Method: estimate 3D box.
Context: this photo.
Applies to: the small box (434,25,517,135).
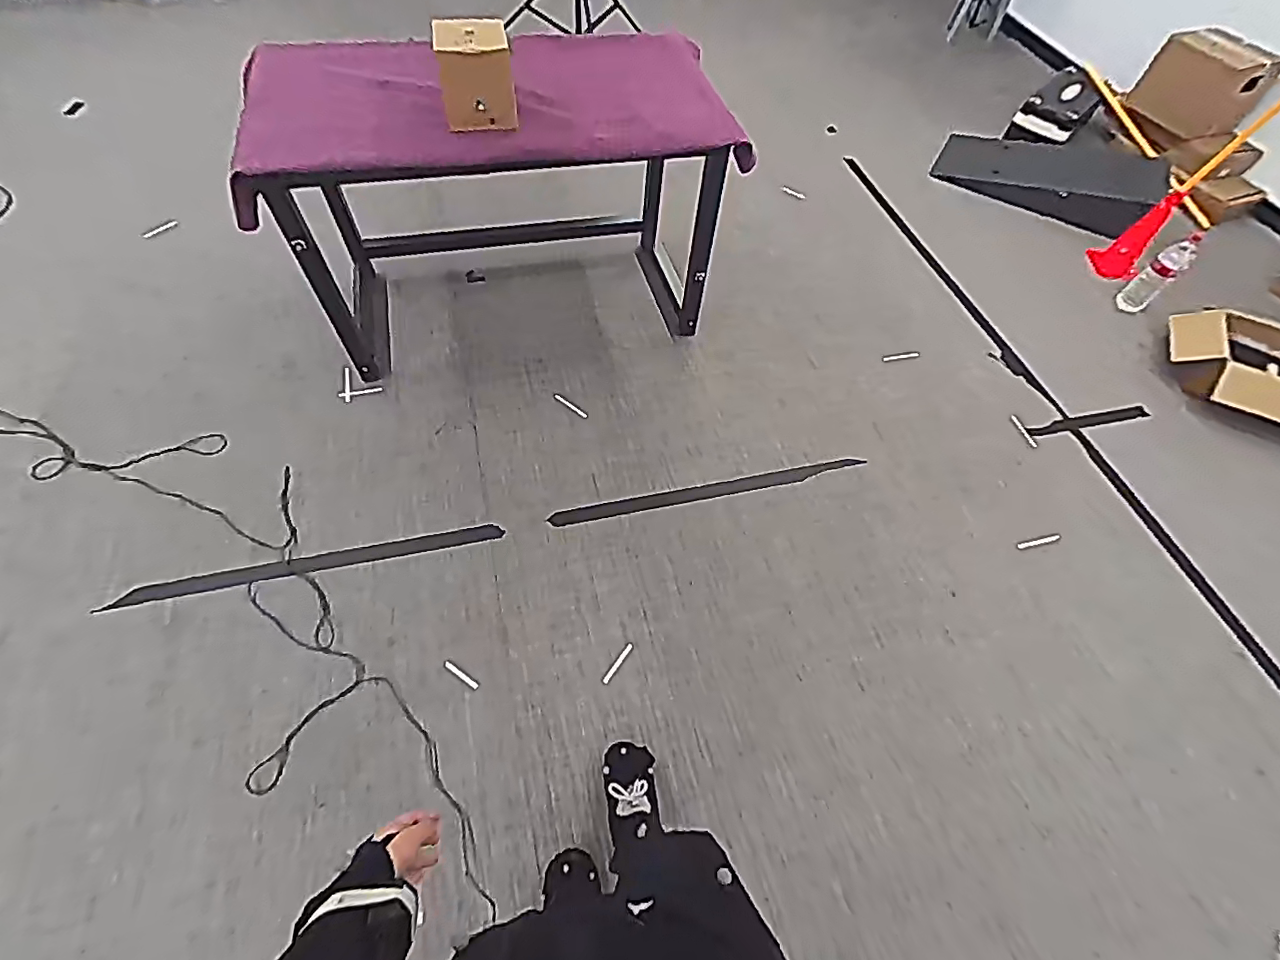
[{"bbox_3d":[-0.397,-0.972,1.316,0.168,0.176,0.179,-9,59,-9],"label":"small box"}]
